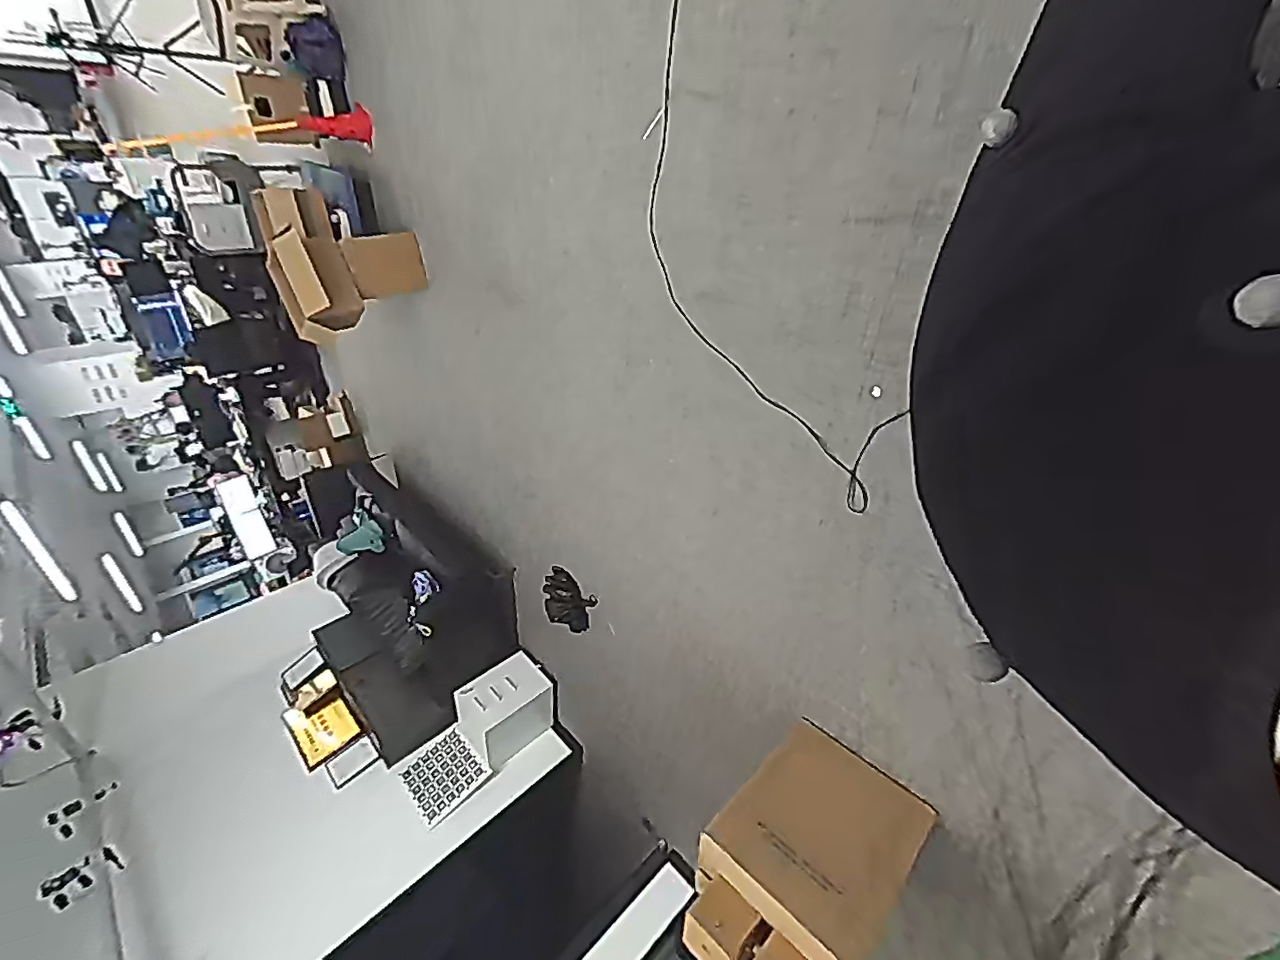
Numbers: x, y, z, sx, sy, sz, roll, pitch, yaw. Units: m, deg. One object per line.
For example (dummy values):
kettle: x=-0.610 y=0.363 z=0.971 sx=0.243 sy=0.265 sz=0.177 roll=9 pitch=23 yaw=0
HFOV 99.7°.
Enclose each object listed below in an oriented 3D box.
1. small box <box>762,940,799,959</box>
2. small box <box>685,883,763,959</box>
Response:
small box: x=0.415 y=1.504 z=1.563 sx=0.179 sy=0.176 sz=0.168 roll=25 pitch=121 yaw=40
small box: x=0.265 y=1.435 z=1.700 sx=0.179 sy=0.176 sz=0.168 roll=24 pitch=120 yaw=41
